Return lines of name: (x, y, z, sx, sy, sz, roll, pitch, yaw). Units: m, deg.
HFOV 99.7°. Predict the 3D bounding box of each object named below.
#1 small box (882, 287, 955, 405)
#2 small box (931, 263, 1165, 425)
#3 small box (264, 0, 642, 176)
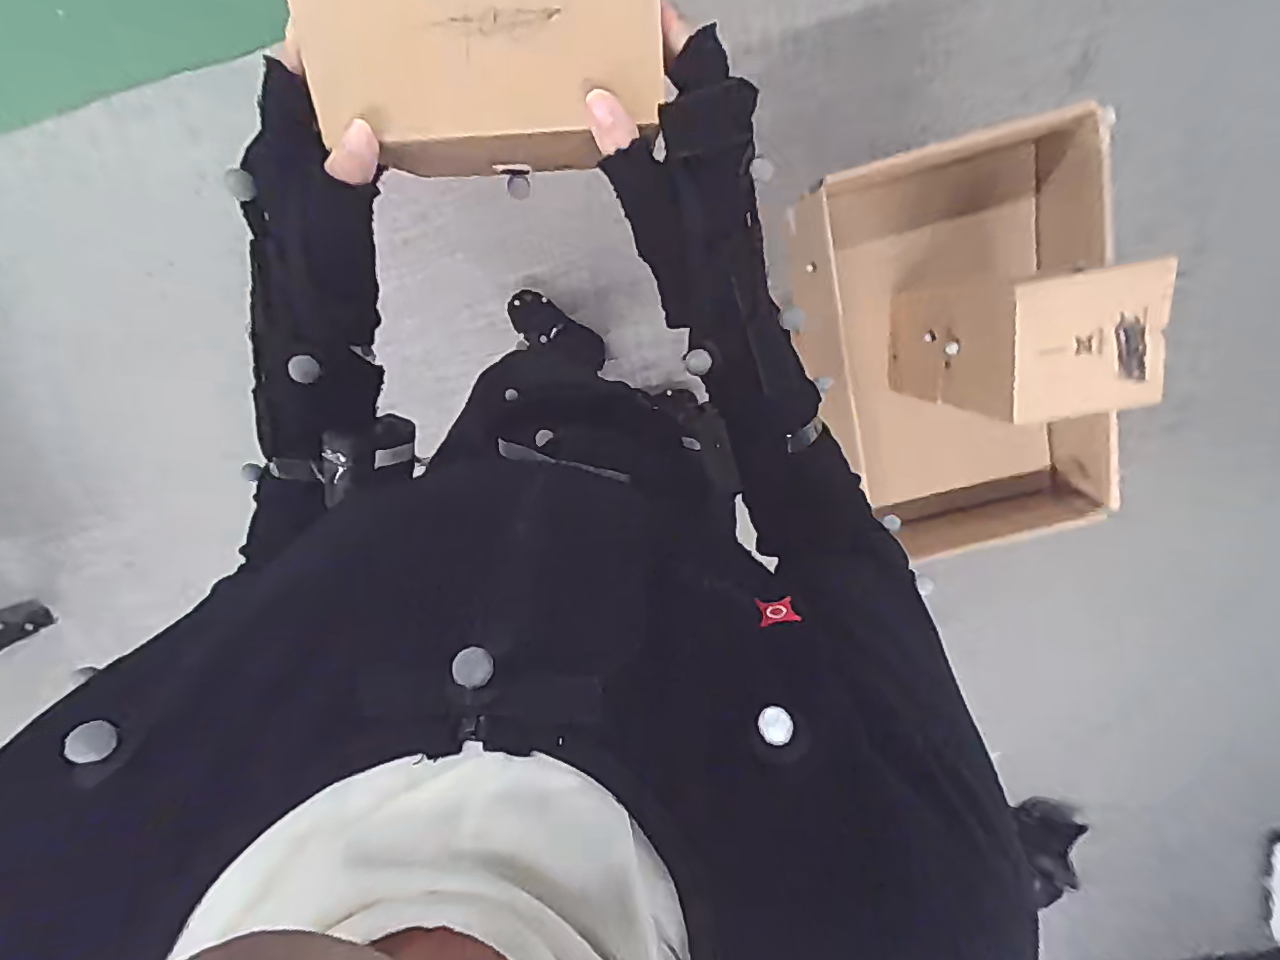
small box: (0.513, -0.222, 0.864, 0.179, 0.176, 0.168, -7, 106, 1)
small box: (0.512, -0.180, 0.706, 0.179, 0.176, 0.168, -9, 107, 3)
small box: (-0.089, -0.281, 0.299, 0.168, 0.176, 0.179, -5, 114, 0)
